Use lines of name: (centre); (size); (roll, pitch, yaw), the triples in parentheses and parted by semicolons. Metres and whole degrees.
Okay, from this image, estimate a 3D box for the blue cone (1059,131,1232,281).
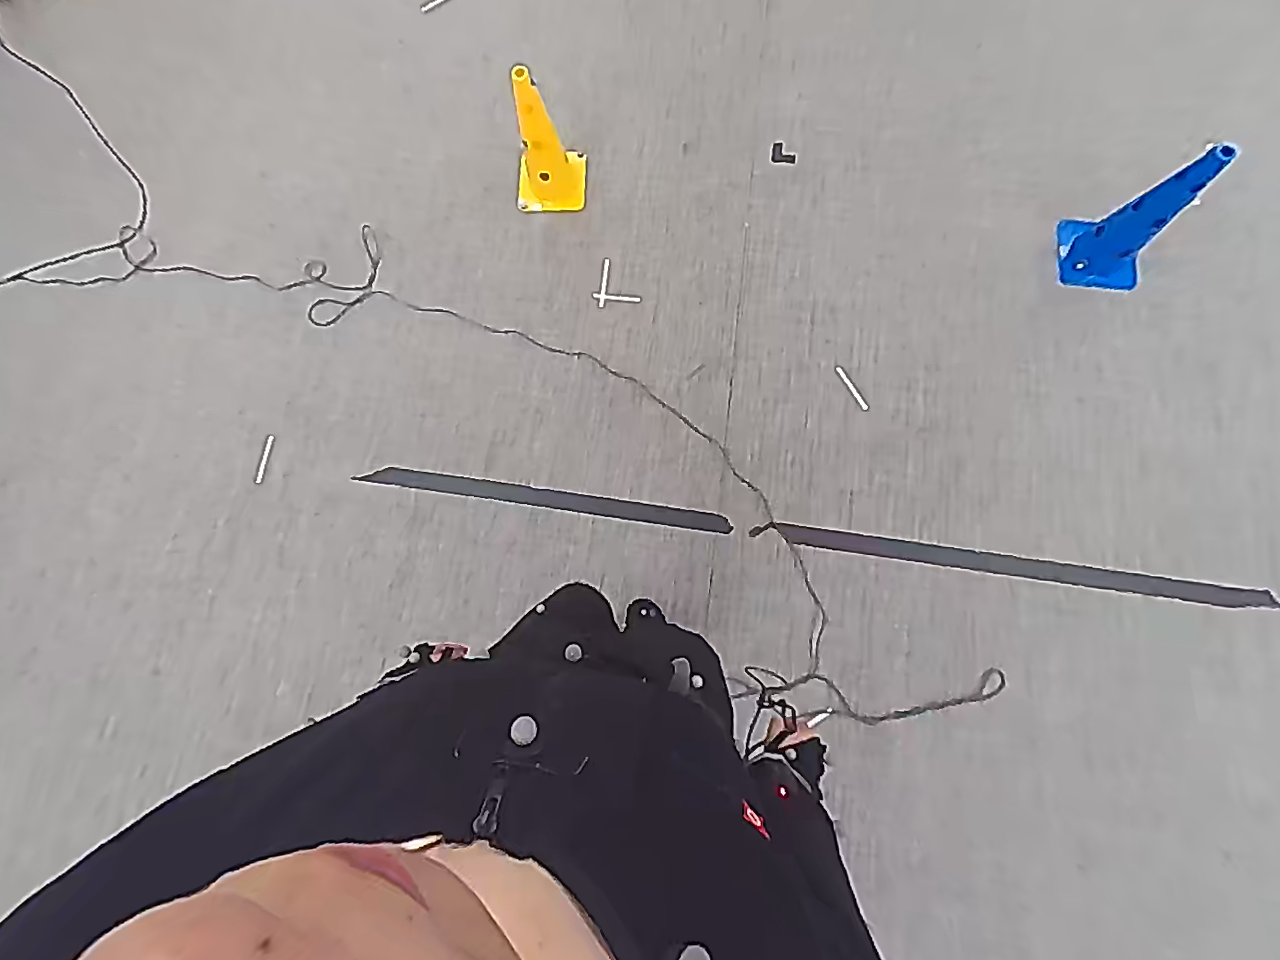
blue cone: (1.235, -0.667, 1.312); (0.193, 0.380, 0.192); (8, 78, 5)
